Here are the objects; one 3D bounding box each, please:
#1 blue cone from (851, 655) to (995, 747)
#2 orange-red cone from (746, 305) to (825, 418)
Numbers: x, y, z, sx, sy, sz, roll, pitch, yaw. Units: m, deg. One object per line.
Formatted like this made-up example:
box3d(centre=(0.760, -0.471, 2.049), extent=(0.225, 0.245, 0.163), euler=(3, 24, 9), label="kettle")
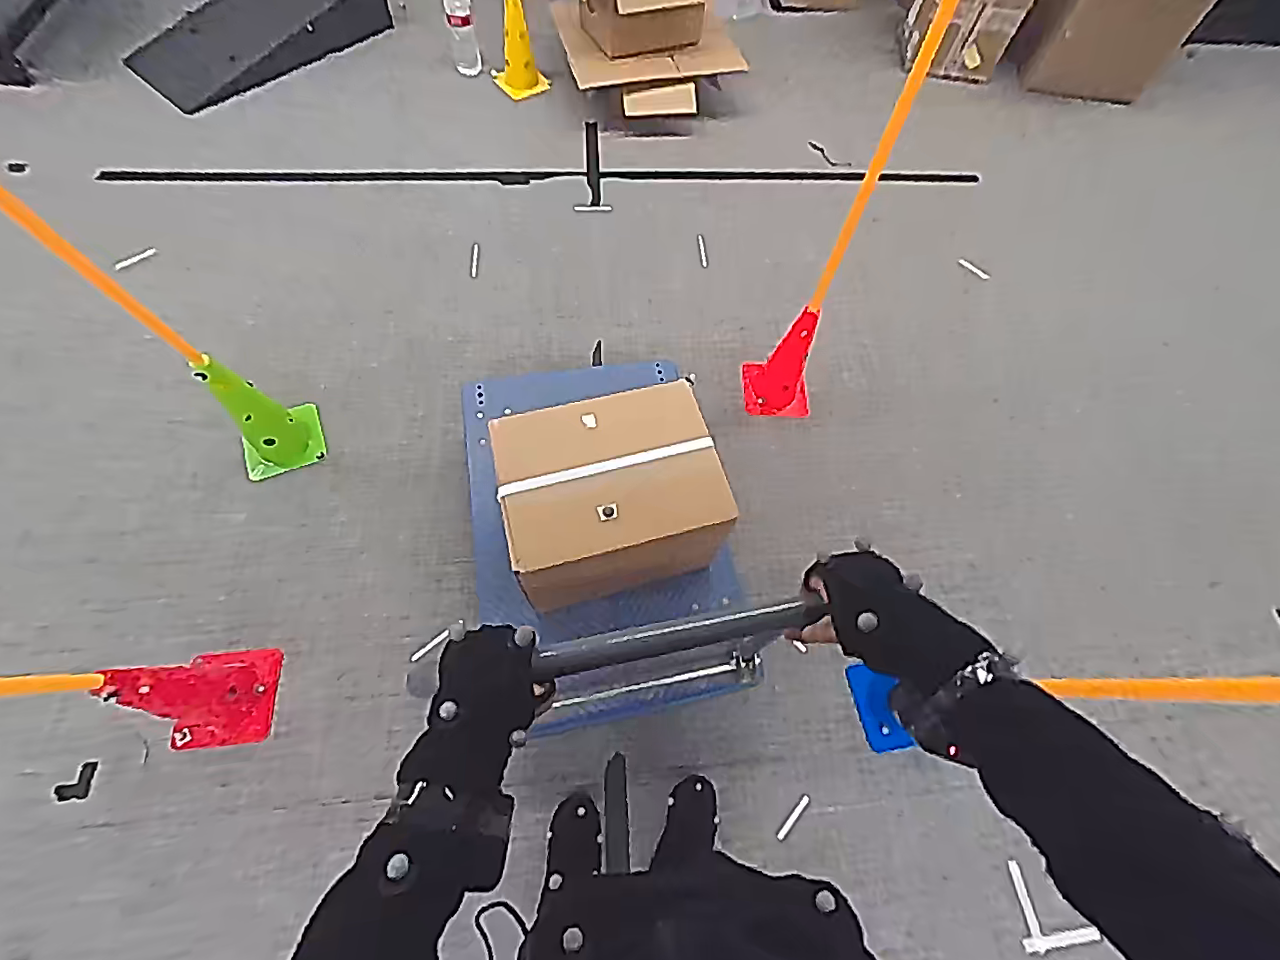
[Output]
box3d(centre=(0.632, 0.457, 1.160), extent=(0.193, 0.380, 0.192), euler=(-6, 63, -7), label="blue cone")
box3d(centre=(0.442, -0.355, 1.528), extent=(0.199, 0.360, 0.198), euler=(4, 64, -3), label="orange-red cone")
